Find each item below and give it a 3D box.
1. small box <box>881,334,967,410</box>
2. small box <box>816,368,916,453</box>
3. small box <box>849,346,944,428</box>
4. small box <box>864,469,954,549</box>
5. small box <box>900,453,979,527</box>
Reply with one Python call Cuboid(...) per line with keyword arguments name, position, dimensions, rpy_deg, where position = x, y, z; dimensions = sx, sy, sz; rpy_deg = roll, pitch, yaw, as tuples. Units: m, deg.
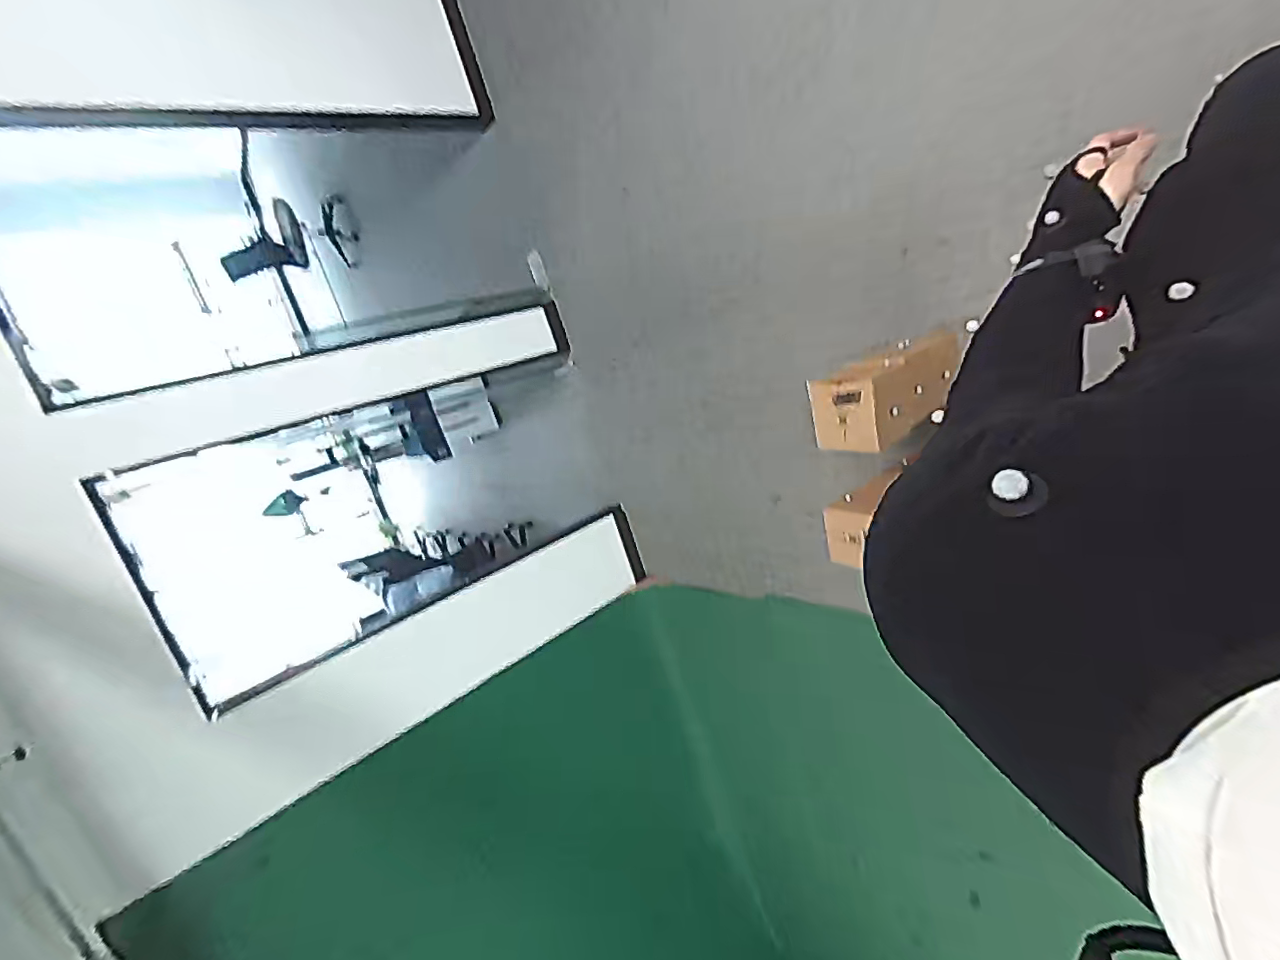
Cuboid(name="small box", position=(0.803, -0.300, 1.536), dimensions=(0.168, 0.176, 0.179), rpy_deg=(3, 113, 53))
Cuboid(name="small box", position=(0.565, -0.179, 1.347), dimensions=(0.168, 0.176, 0.179), rpy_deg=(9, 118, 51))
Cuboid(name="small box", position=(0.686, -0.244, 1.436), dimensions=(0.168, 0.176, 0.179), rpy_deg=(6, 114, 52))
Cuboid(name="small box", position=(0.765, 0.074, 1.526), dimensions=(0.179, 0.176, 0.168), rpy_deg=(8, 116, 53))
Cuboid(name="small box", position=(0.891, 0.023, 1.617), dimensions=(0.179, 0.176, 0.168), rpy_deg=(7, 116, 53))
